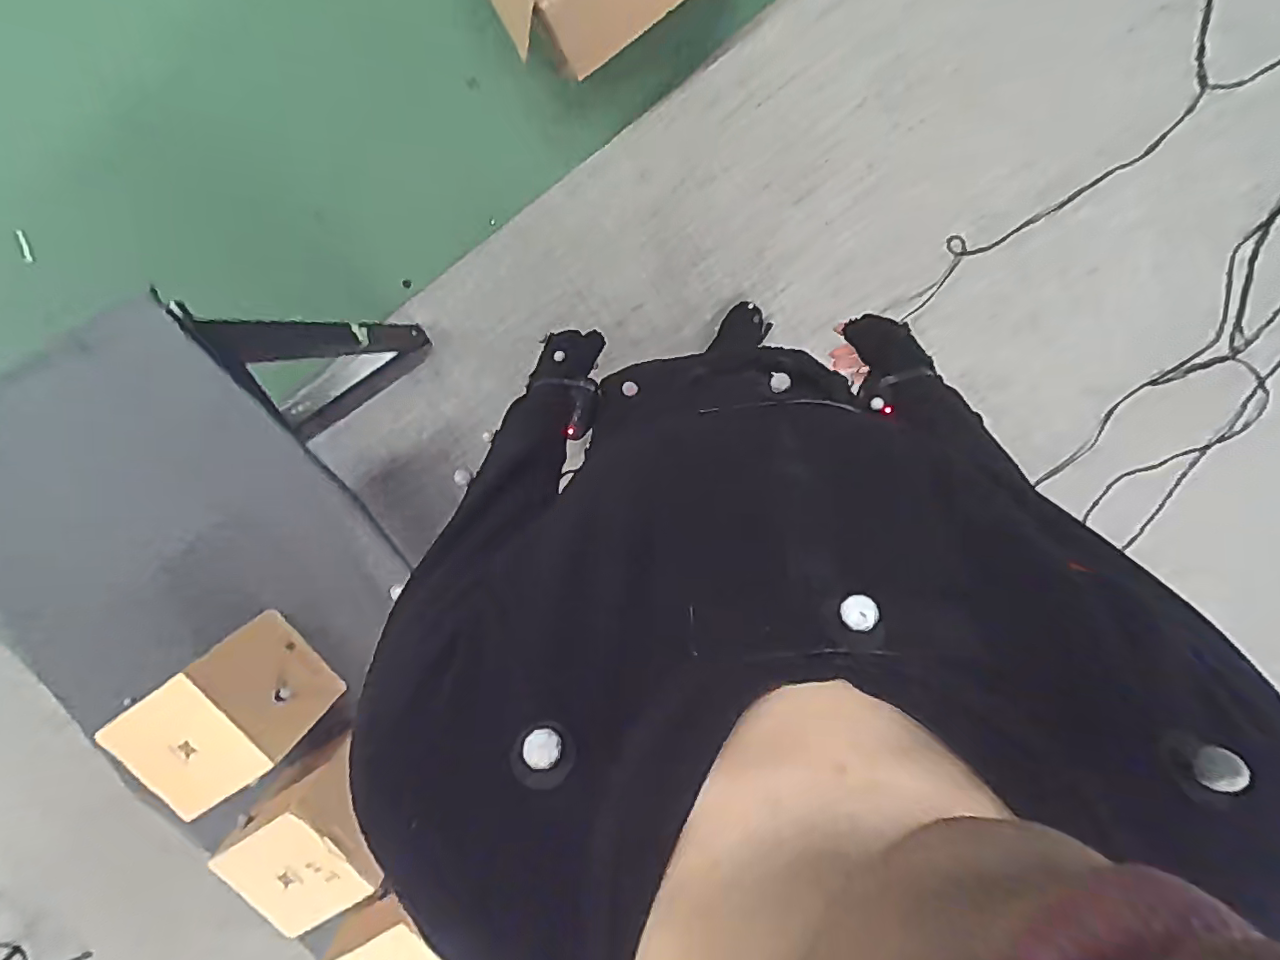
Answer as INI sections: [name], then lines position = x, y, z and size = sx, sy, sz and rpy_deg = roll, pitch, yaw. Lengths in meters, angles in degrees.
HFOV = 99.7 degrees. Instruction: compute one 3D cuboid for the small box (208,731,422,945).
[small box]
position = -0.466, 0.521, 0.805
size = 0.179, 0.176, 0.168
rpy_deg = -35, 100, 11
